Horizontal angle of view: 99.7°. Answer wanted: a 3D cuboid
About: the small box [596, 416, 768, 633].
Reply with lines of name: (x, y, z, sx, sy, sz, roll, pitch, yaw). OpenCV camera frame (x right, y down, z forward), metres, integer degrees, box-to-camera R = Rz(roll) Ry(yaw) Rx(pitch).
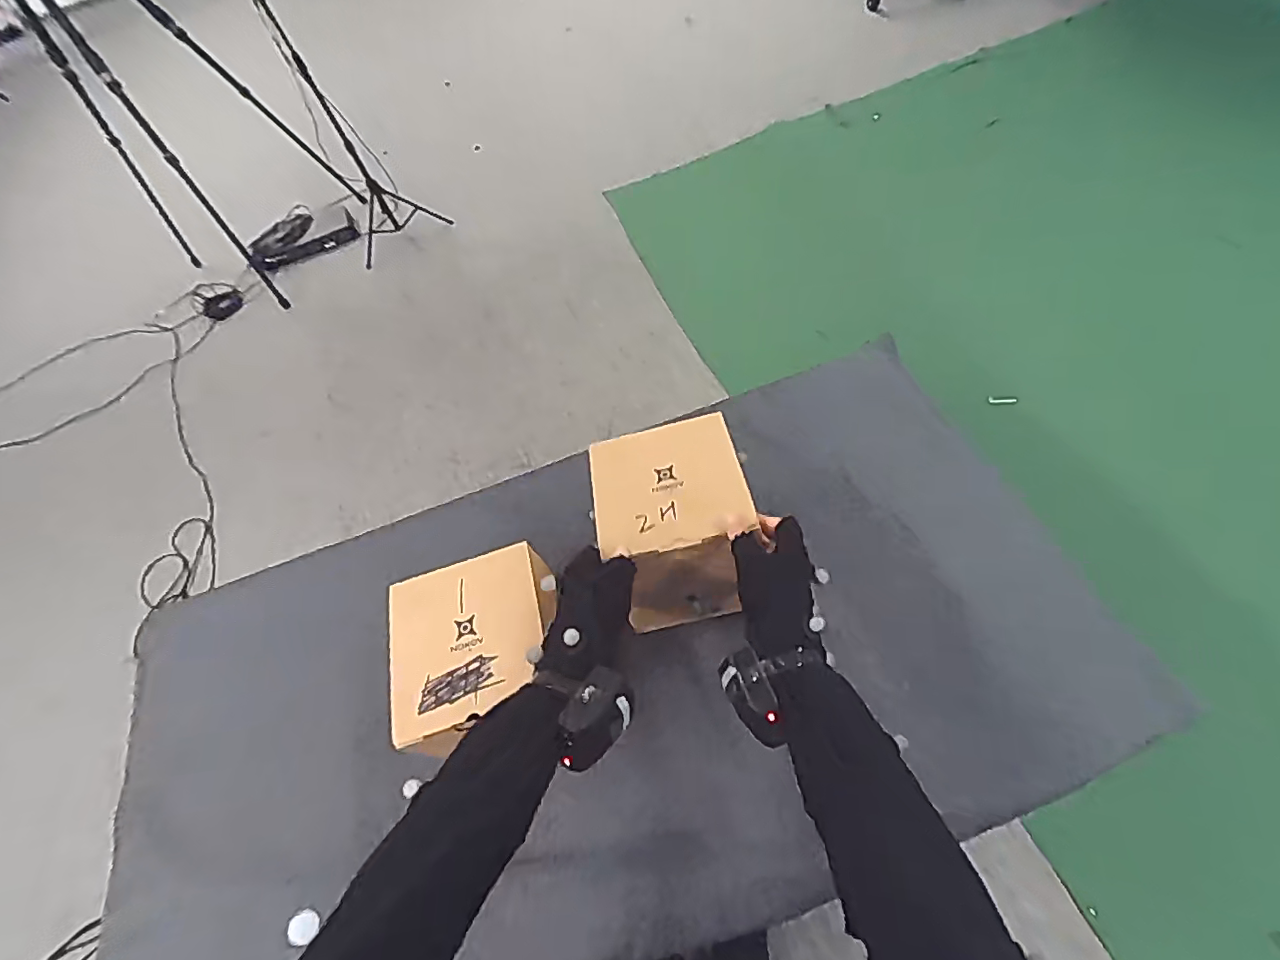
small box: (0.050, 0.056, 0.647, 0.168, 0.176, 0.179, -14, 47, 5)

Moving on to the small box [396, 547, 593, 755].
small box: (-0.164, 0.209, 0.637, 0.168, 0.176, 0.179, -18, 56, 0)
